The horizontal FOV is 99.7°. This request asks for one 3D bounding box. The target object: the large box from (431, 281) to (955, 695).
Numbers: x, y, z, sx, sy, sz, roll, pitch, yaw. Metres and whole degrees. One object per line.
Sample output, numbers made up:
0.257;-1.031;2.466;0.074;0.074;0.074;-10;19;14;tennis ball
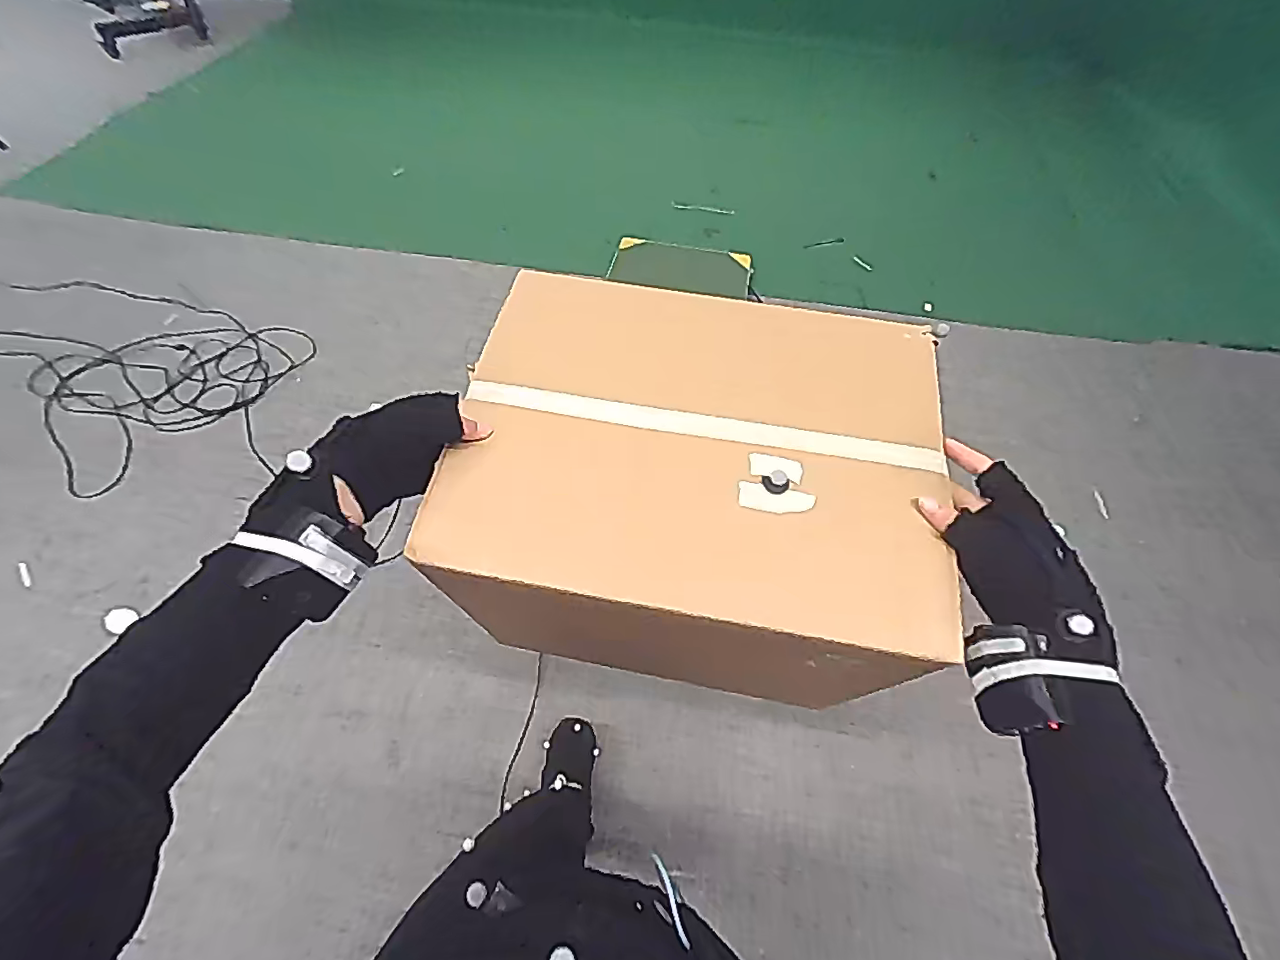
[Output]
0.053;0.027;0.601;0.408;0.320;0.320;10;63;4;large box
